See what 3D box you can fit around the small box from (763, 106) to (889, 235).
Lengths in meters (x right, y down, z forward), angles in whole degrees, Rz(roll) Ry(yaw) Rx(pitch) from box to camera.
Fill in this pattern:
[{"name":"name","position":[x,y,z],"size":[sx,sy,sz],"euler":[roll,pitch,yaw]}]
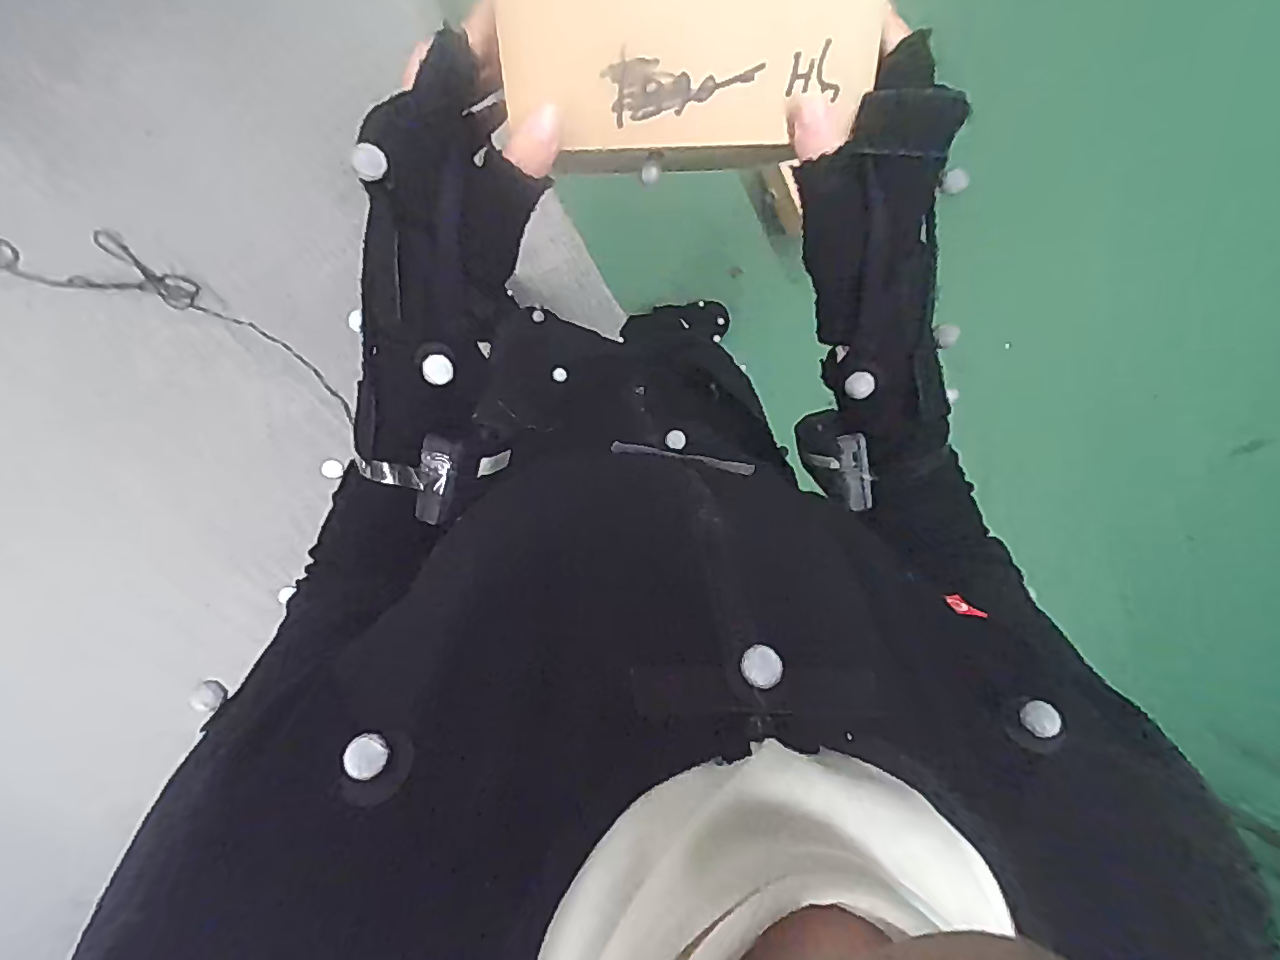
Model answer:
[{"name":"small box","position":[0.382,-0.639,1.136],"size":[0.179,0.176,0.168],"euler":[-28,111,12]}]

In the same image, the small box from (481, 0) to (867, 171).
[{"name":"small box","position":[0.006,-0.270,0.280],"size":[0.168,0.176,0.179],"euler":[-4,116,-4]}]
